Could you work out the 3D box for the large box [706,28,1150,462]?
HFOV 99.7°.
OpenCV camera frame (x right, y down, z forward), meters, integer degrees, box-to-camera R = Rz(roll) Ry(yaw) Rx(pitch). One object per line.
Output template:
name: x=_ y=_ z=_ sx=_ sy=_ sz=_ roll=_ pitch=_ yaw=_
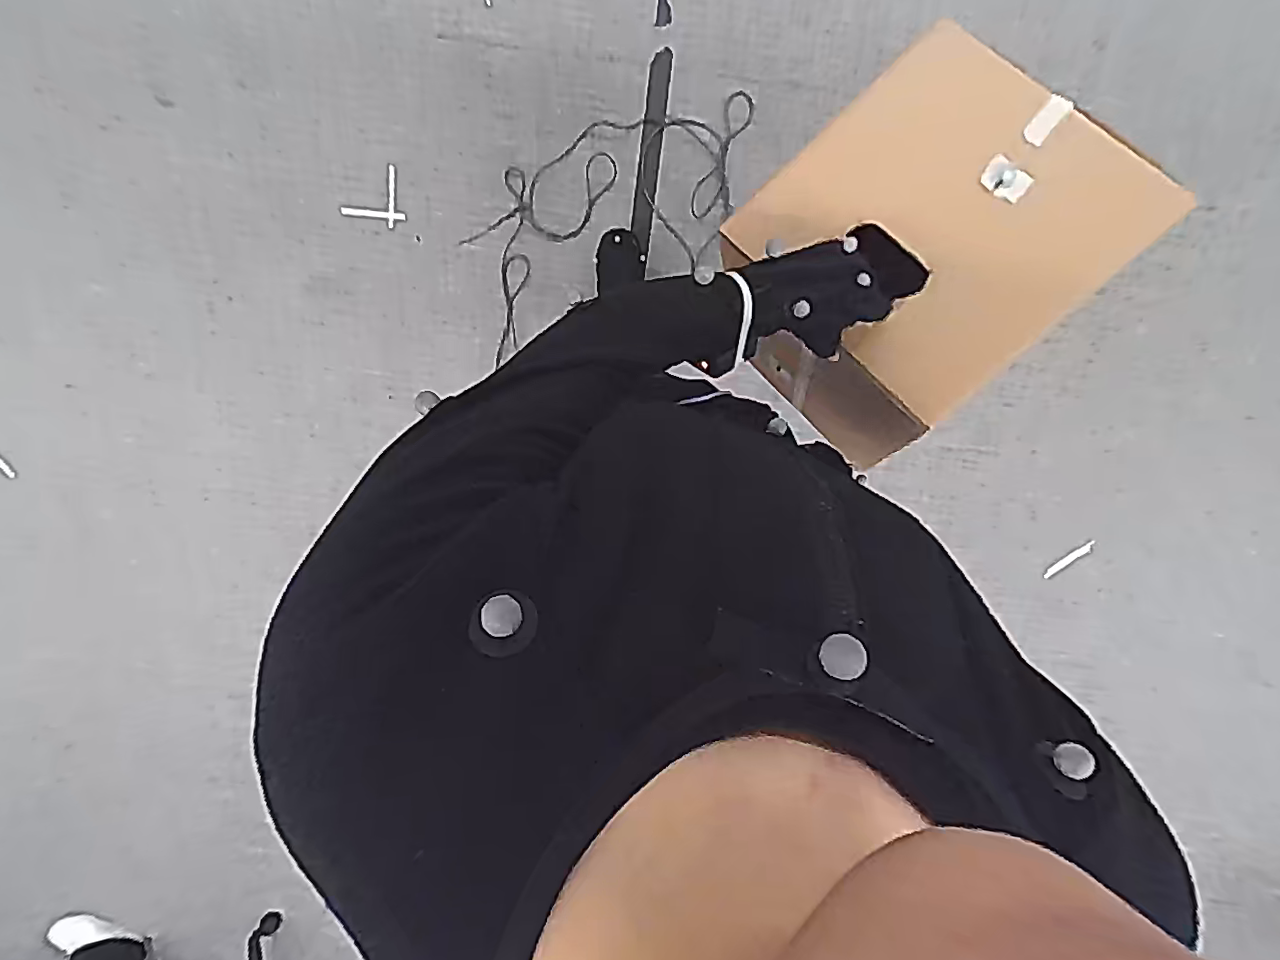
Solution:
large box: x=0.329 y=-0.258 z=0.741 sx=0.320 sy=0.408 sz=0.320 roll=-42 pitch=77 yaw=8
